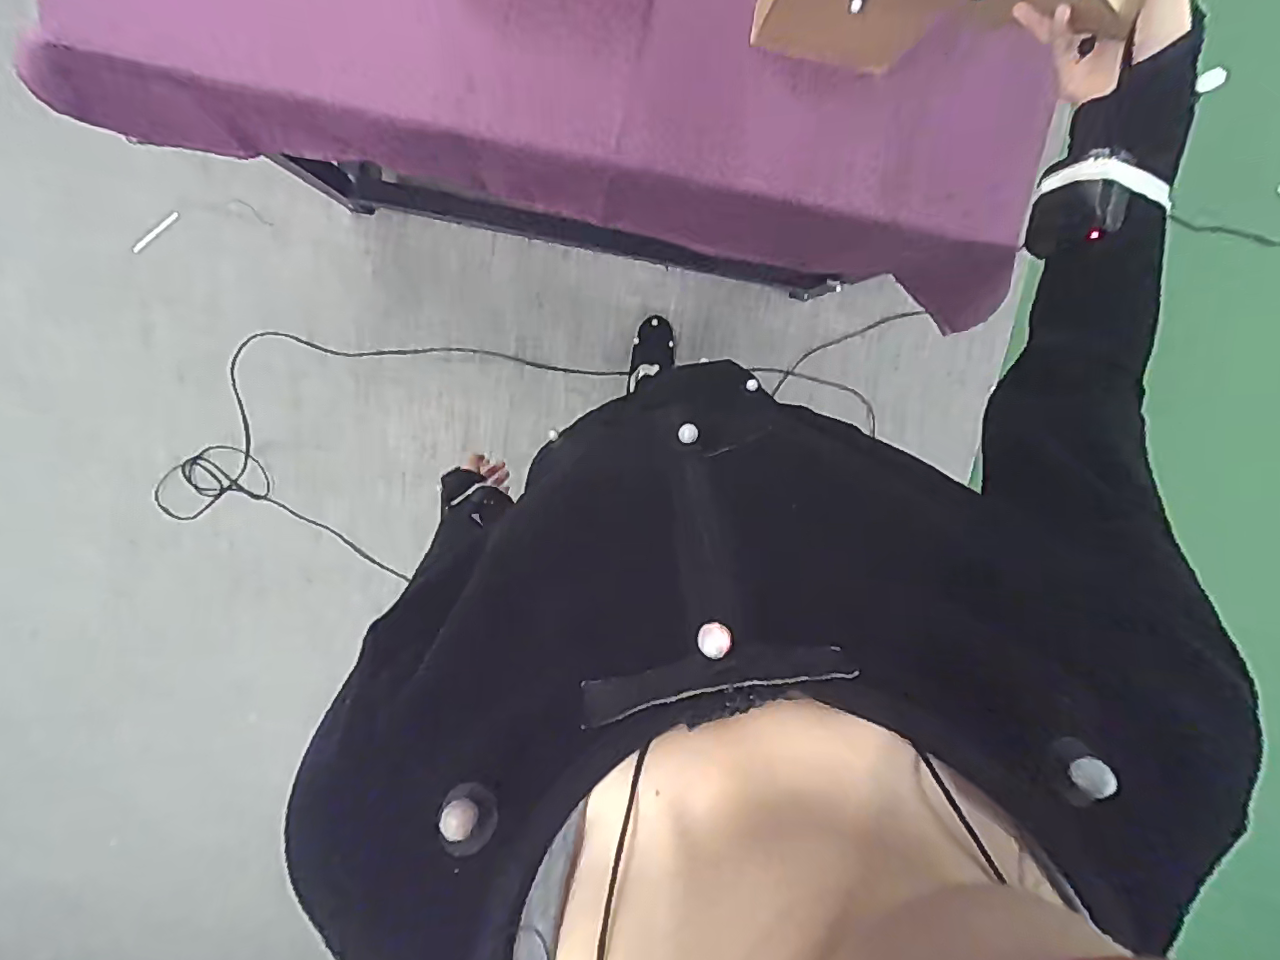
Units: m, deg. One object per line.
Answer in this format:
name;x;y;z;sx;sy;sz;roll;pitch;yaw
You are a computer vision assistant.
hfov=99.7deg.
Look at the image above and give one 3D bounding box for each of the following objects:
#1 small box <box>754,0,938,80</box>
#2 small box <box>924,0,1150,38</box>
small box;0.238;-0.577;0.584;0.179;0.176;0.168;9;101;-7
small box;0.298;-0.458;0.387;0.179;0.176;0.168;8;124;-27
